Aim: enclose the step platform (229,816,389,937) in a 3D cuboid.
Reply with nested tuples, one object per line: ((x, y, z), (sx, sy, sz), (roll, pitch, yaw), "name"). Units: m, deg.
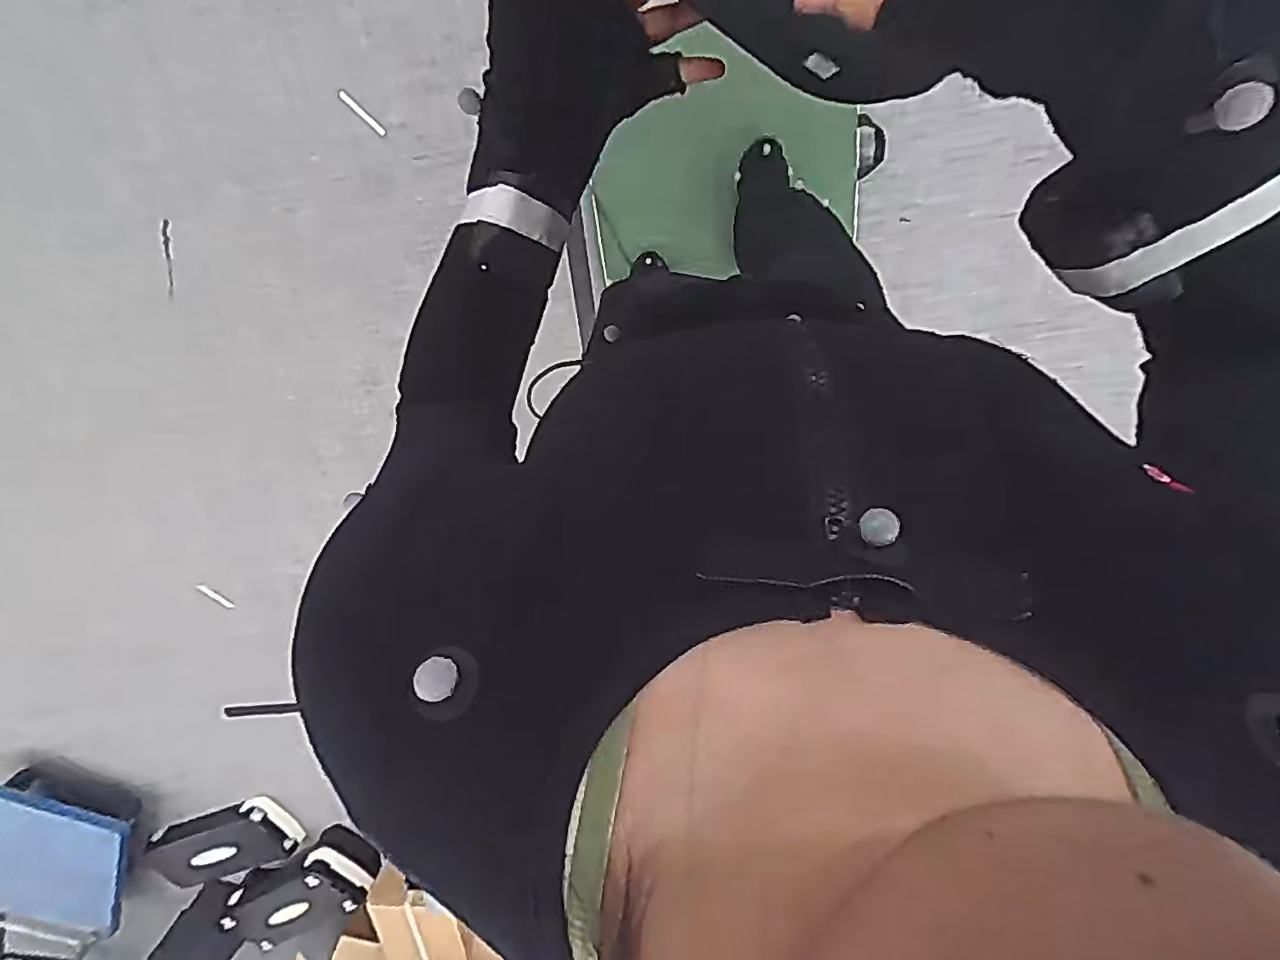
((-1.448, 1.741, 2.363), (0.684, 0.204, 0.286), (-34, 109, 15), "step platform")
